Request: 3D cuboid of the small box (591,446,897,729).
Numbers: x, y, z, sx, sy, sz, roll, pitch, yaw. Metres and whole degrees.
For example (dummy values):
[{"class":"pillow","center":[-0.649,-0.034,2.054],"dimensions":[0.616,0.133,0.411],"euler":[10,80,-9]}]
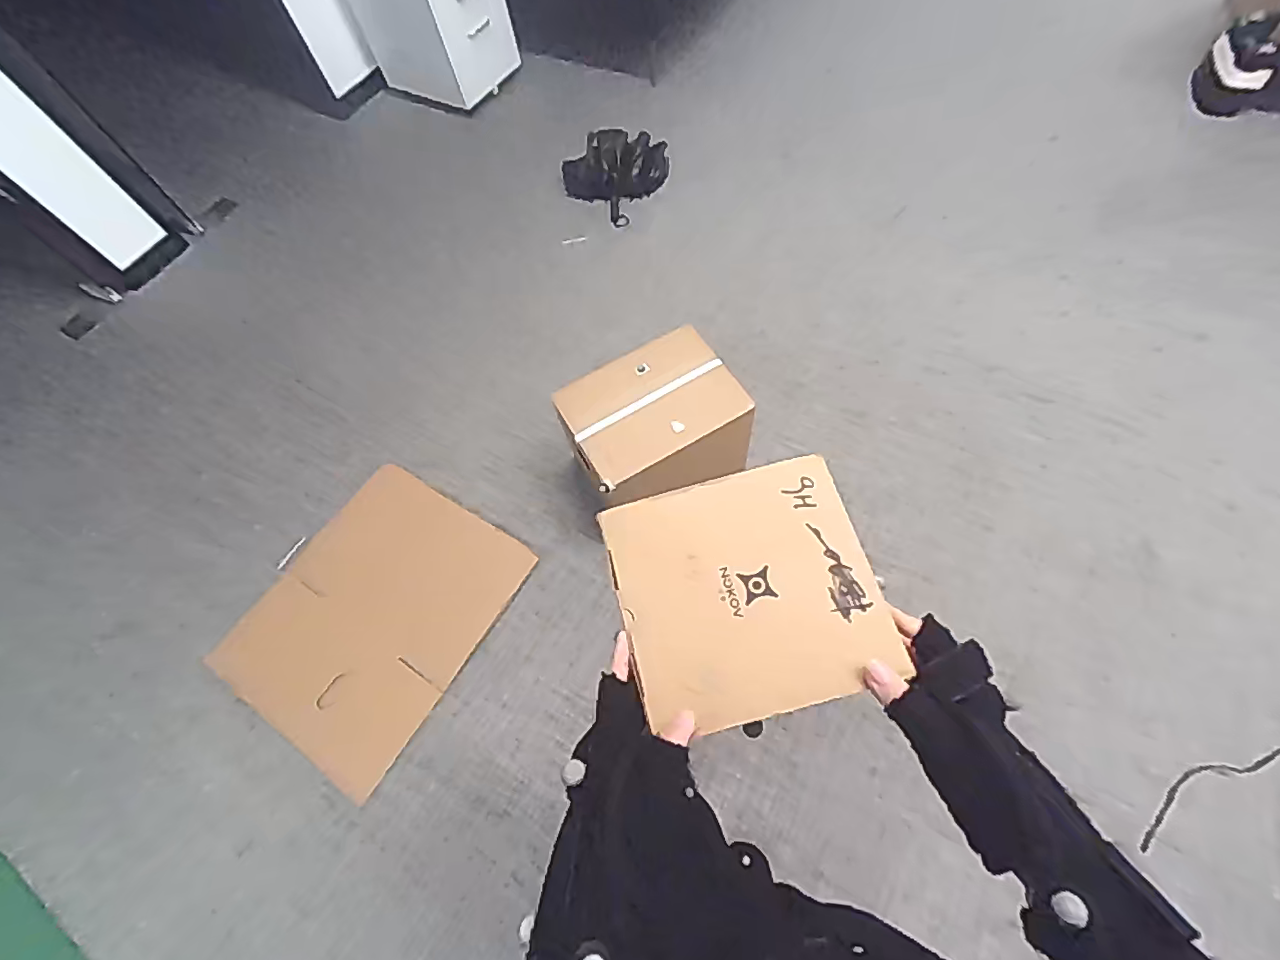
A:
[{"class":"small box","center":[0.075,0.102,0.457],"dimensions":[0.179,0.176,0.168],"euler":[-18,65,-3]}]
